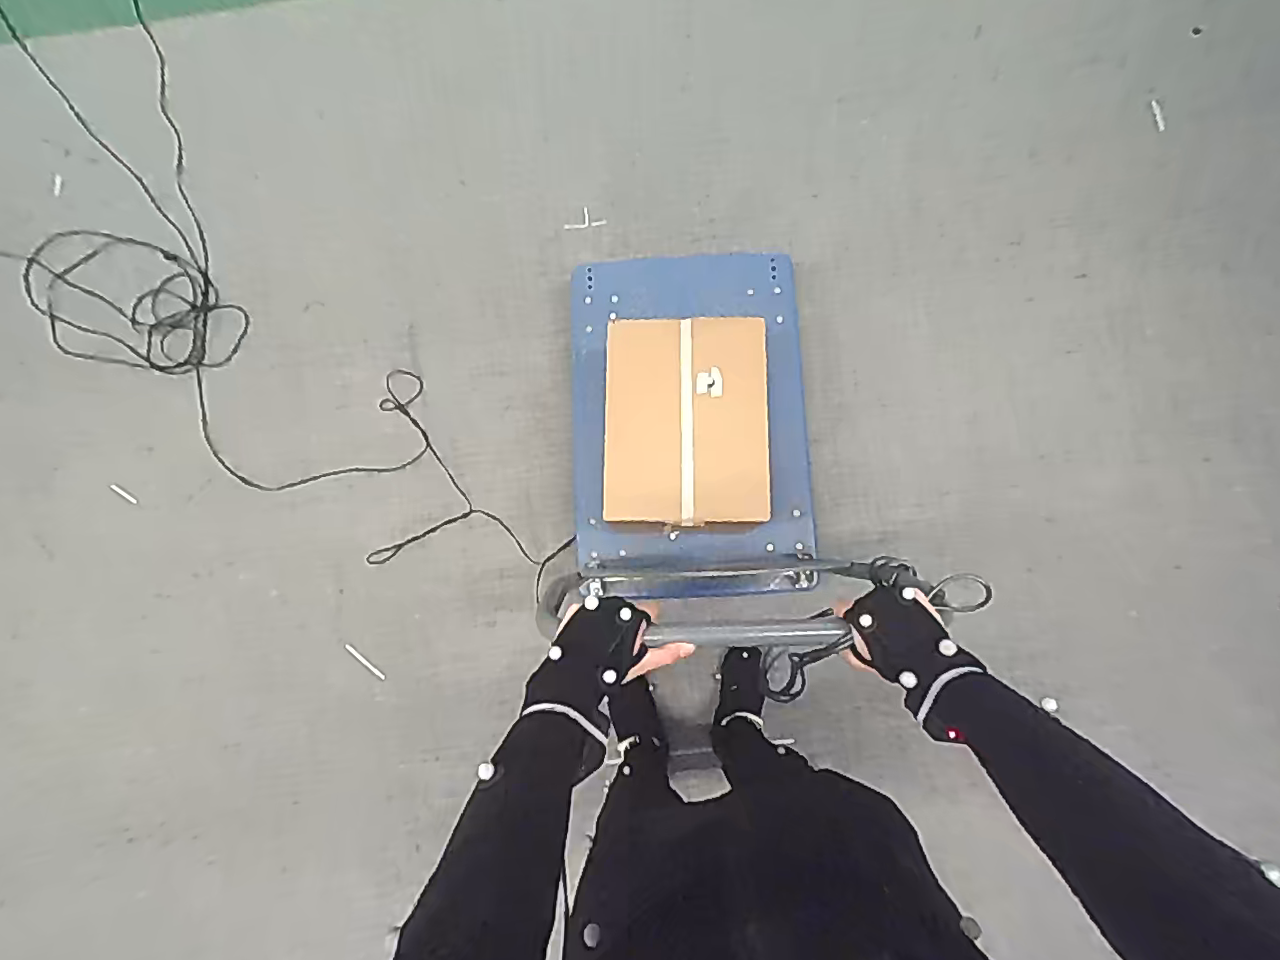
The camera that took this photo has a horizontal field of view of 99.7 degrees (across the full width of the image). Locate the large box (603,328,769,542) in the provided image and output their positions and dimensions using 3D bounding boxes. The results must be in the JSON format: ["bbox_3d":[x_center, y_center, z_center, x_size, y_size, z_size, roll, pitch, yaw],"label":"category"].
[{"bbox_3d":[0.093,-0.076,1.189,0.320,0.320,0.408,0,79,2],"label":"large box"}]
